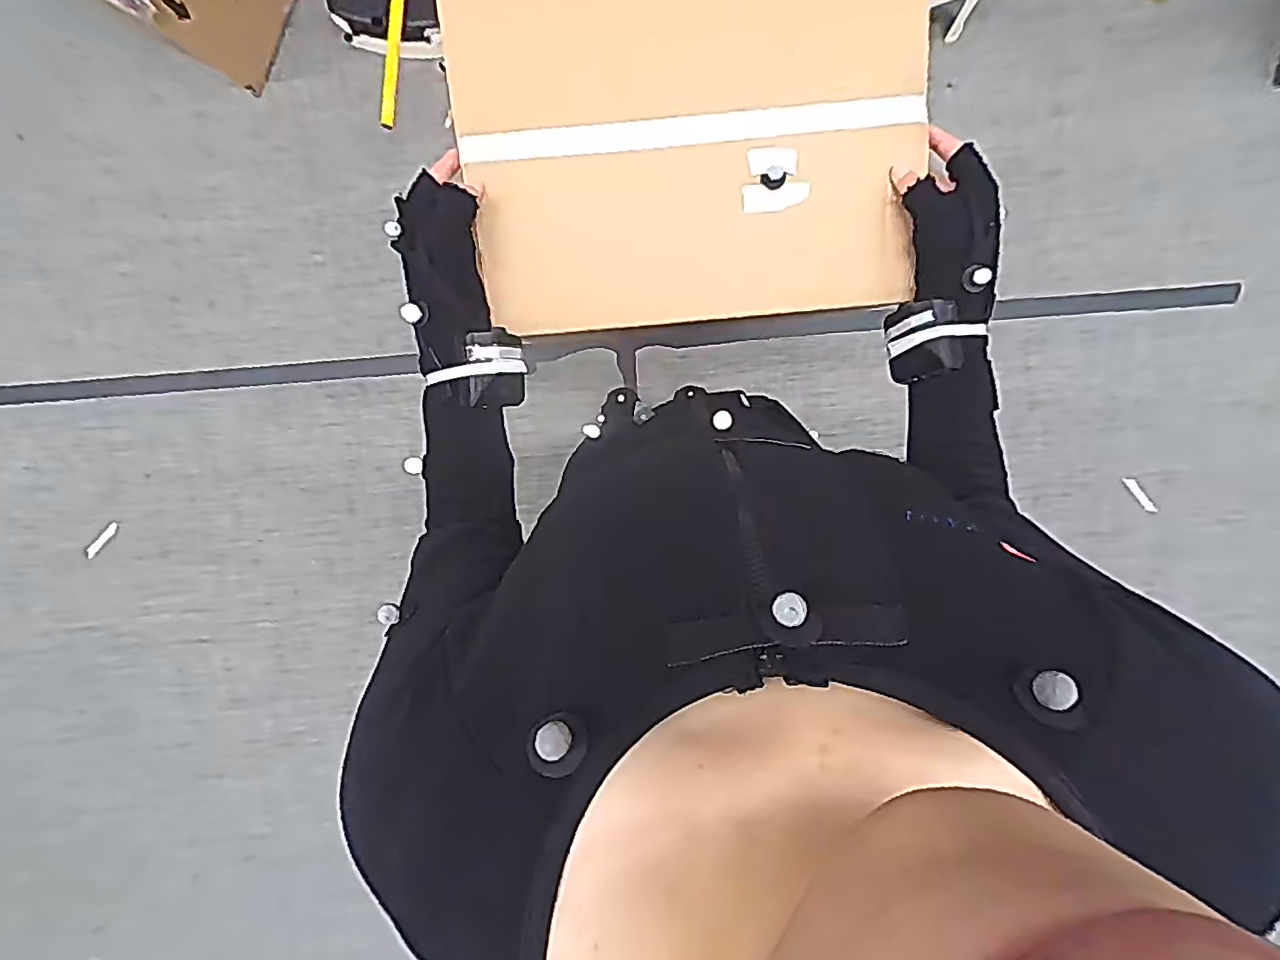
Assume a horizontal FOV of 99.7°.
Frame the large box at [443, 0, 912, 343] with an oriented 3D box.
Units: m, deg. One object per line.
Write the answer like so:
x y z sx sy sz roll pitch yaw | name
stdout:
0.036 -0.340 0.625 0.408 0.320 0.320 -5 103 -1 | large box
